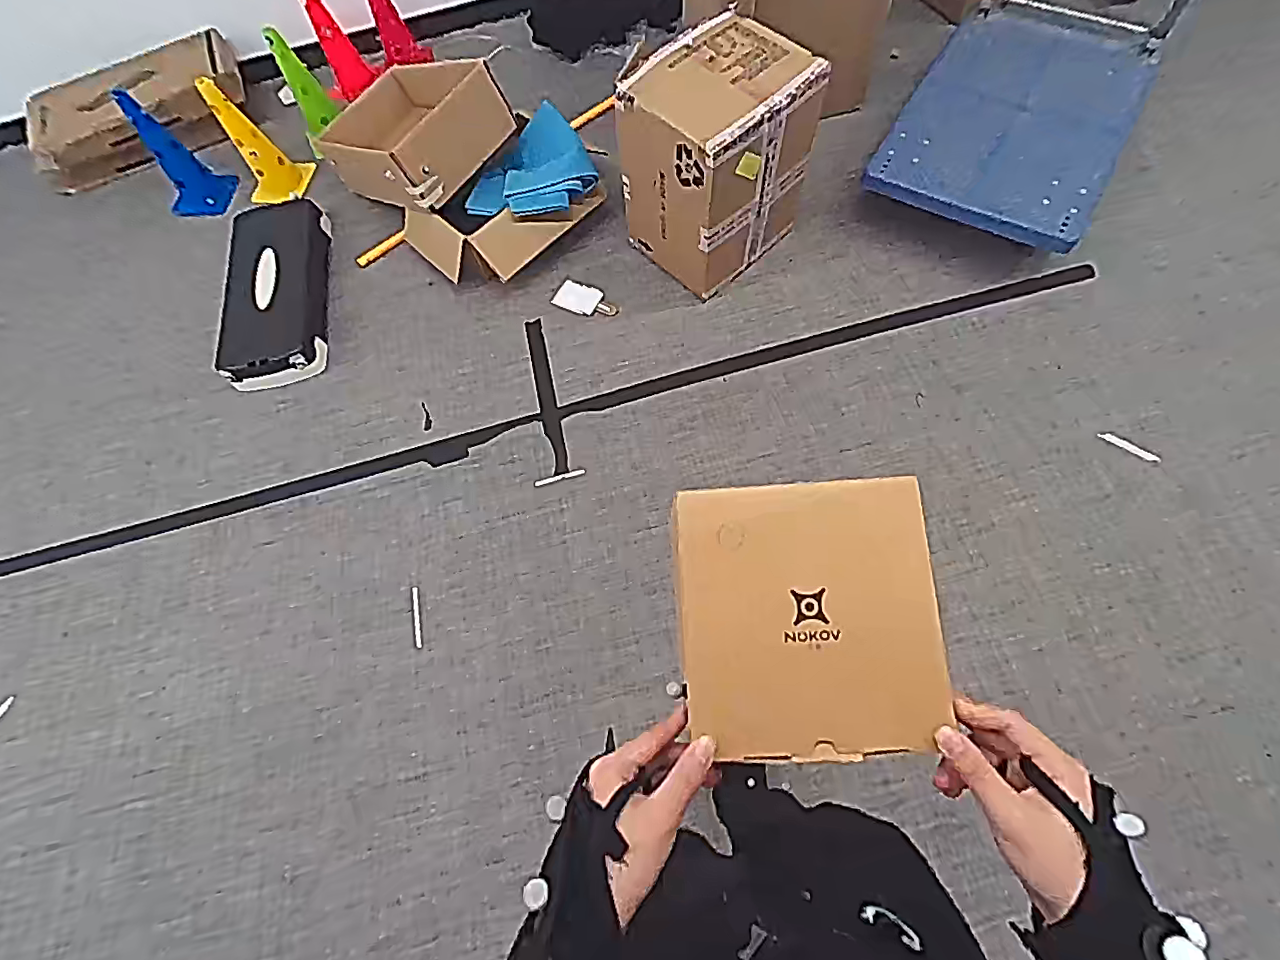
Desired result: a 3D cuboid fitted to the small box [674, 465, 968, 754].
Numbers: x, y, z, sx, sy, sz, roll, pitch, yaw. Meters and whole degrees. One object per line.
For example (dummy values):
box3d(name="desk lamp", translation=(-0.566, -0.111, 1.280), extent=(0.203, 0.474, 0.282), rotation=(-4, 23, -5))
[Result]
box3d(name="small box", translation=(0.116, 0.095, 0.424), extent=(0.168, 0.176, 0.179), rotation=(-4, 79, 1))
